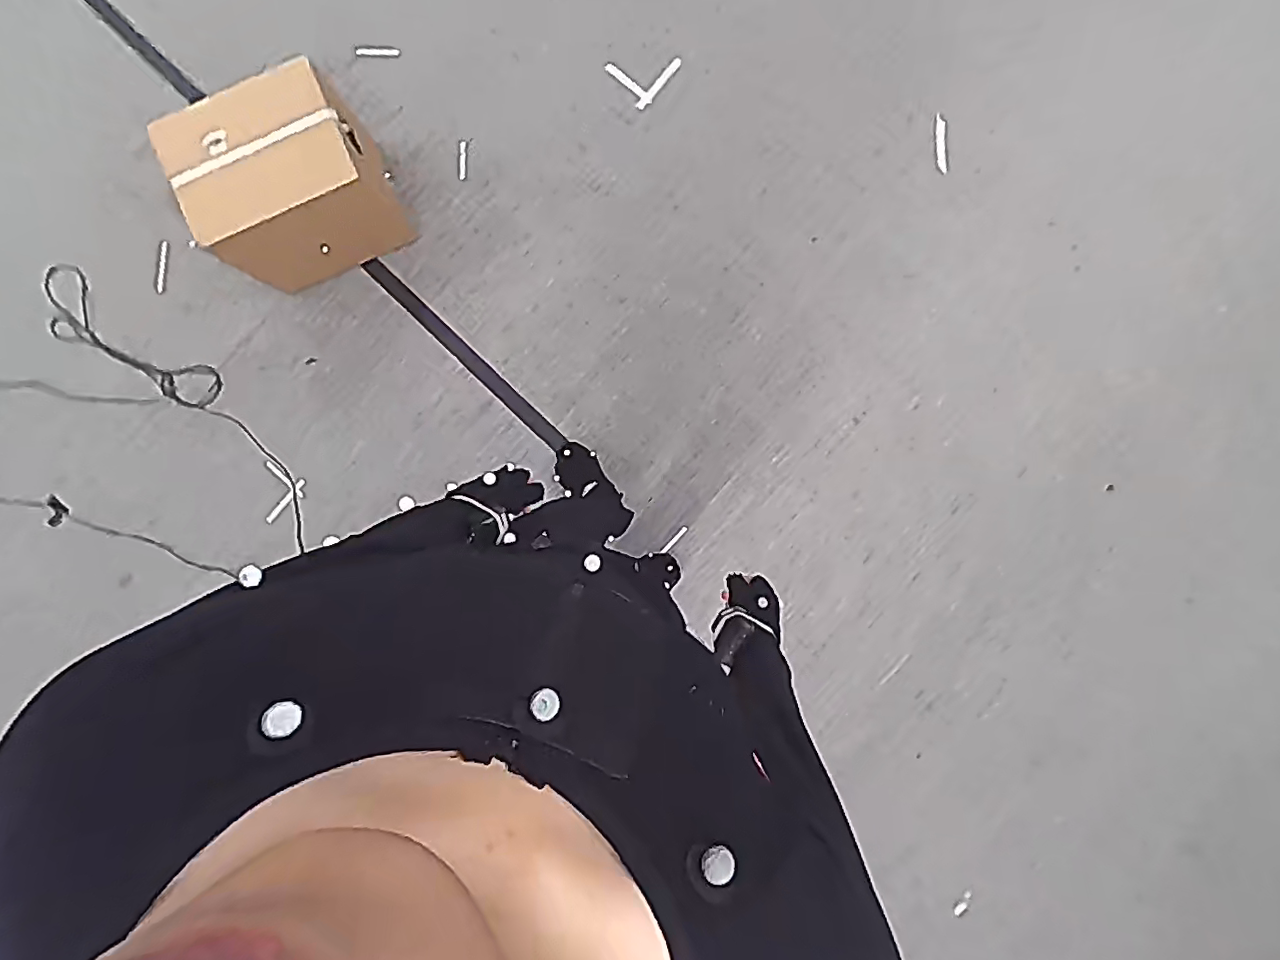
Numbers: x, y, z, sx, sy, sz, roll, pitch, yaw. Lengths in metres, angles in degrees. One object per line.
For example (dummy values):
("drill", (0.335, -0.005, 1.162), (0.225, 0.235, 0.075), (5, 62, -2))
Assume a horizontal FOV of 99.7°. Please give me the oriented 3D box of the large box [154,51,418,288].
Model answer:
("large box", (-0.861, -0.752, 1.371), (0.408, 0.320, 0.320), (-24, 89, 2))
